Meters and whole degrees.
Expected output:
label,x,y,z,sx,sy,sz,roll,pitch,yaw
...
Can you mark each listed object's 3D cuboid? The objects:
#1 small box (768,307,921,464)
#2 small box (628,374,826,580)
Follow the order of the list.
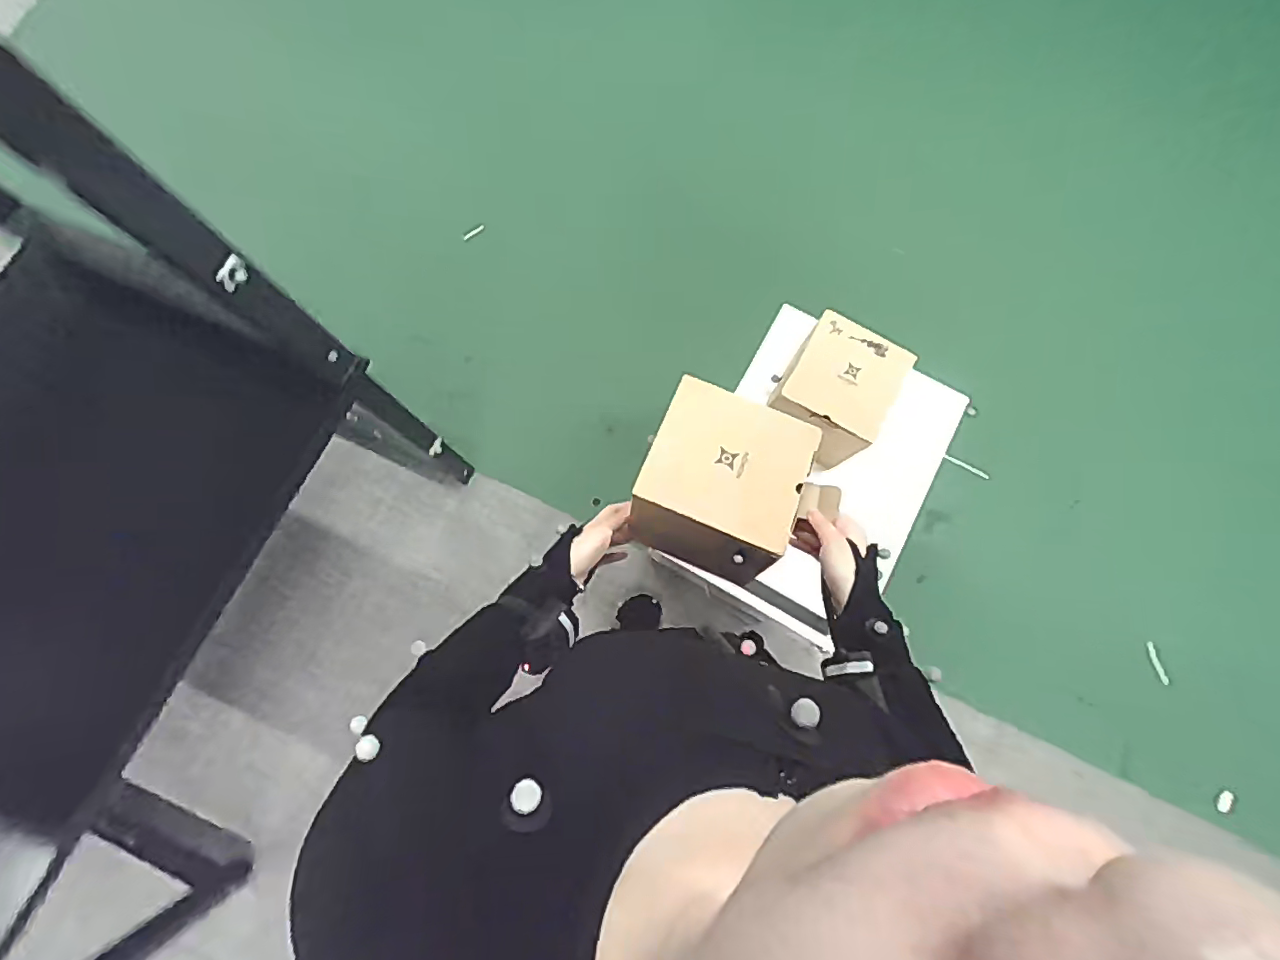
label,x,y,z,sx,sy,sz,roll,pitch,yaw
small box,0.328,-0.148,0.916,0.168,0.176,0.179,30,79,4
small box,0.093,0.007,0.654,0.179,0.176,0.168,22,69,4
